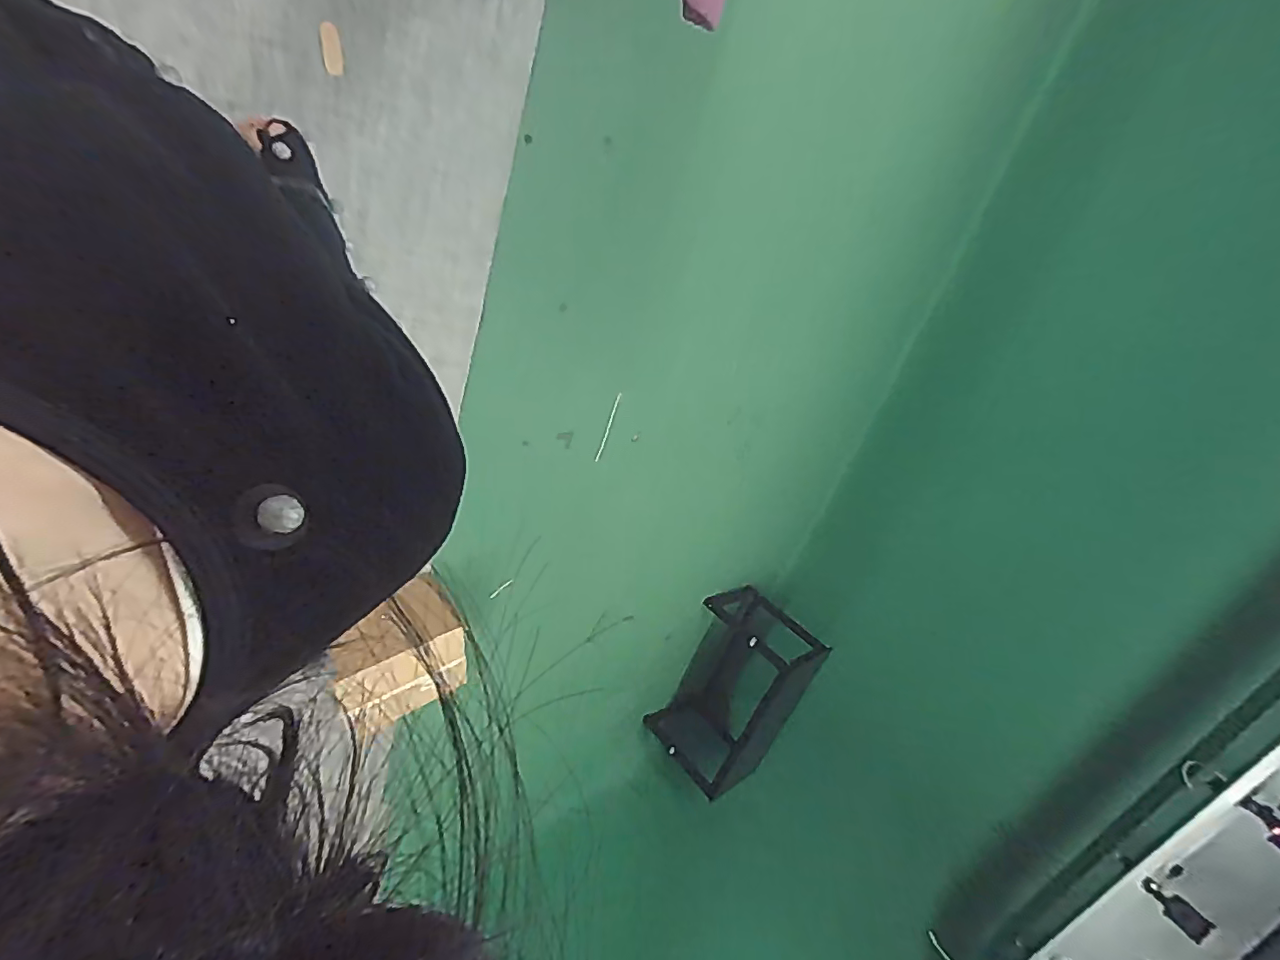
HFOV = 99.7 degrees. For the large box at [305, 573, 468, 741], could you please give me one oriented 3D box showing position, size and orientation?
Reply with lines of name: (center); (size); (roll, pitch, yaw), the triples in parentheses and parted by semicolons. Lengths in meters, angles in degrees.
large box: (-0.853, 0.585, 1.849); (0.408, 0.320, 0.320); (-20, 134, -37)
